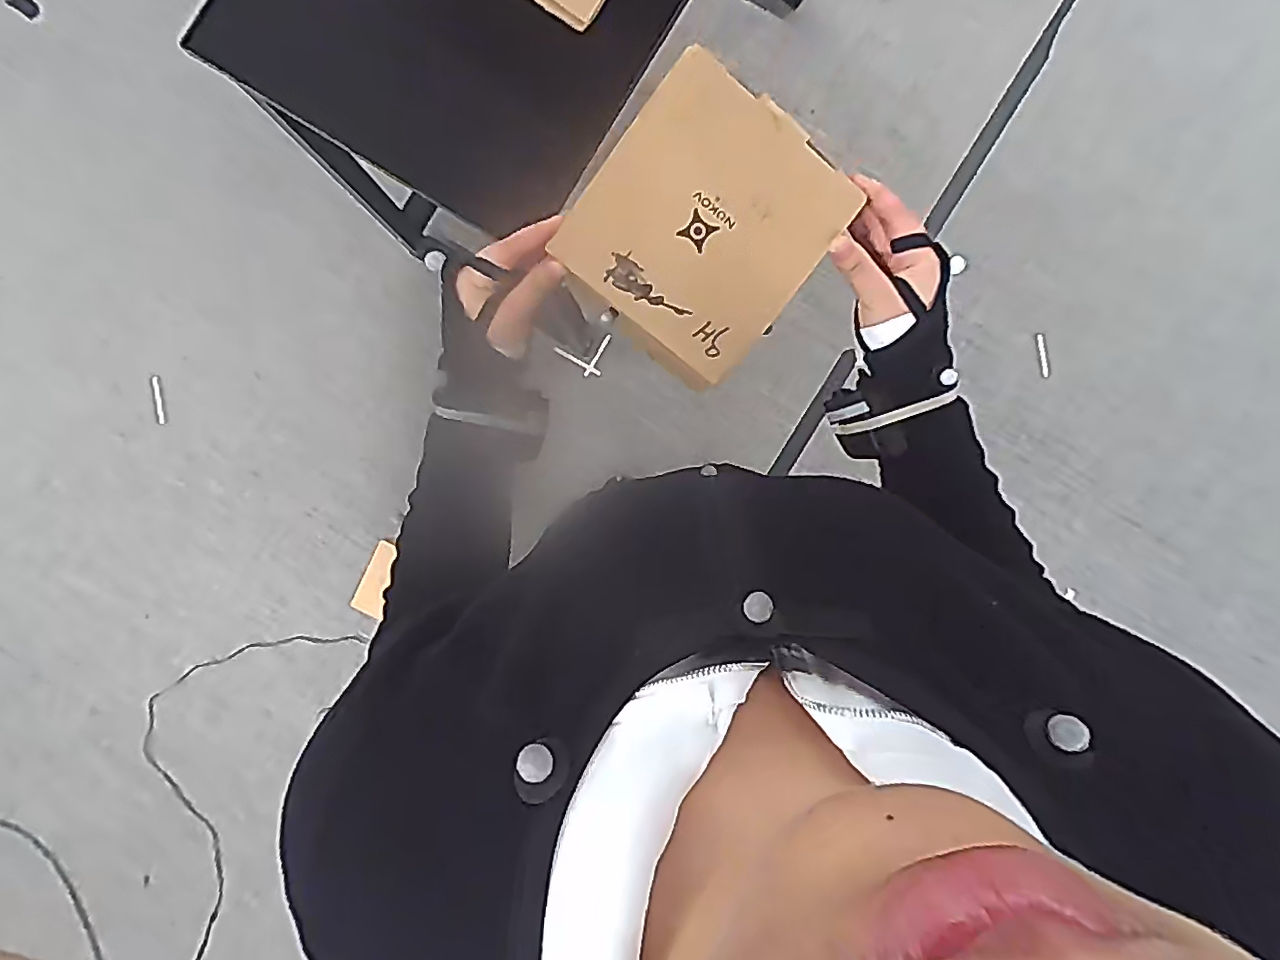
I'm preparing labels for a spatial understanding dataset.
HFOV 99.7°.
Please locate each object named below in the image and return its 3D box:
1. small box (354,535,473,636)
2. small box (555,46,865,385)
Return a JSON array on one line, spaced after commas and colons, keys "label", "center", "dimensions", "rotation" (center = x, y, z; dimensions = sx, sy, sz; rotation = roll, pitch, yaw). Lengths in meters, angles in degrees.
[{"label": "small box", "center": [-0.522, 0.238, 1.277], "dimensions": [0.179, 0.176, 0.168], "rotation": [25, 90, 2]}, {"label": "small box", "center": [0.048, -0.201, 0.473], "dimensions": [0.168, 0.176, 0.179], "rotation": [38, 95, -5]}]
